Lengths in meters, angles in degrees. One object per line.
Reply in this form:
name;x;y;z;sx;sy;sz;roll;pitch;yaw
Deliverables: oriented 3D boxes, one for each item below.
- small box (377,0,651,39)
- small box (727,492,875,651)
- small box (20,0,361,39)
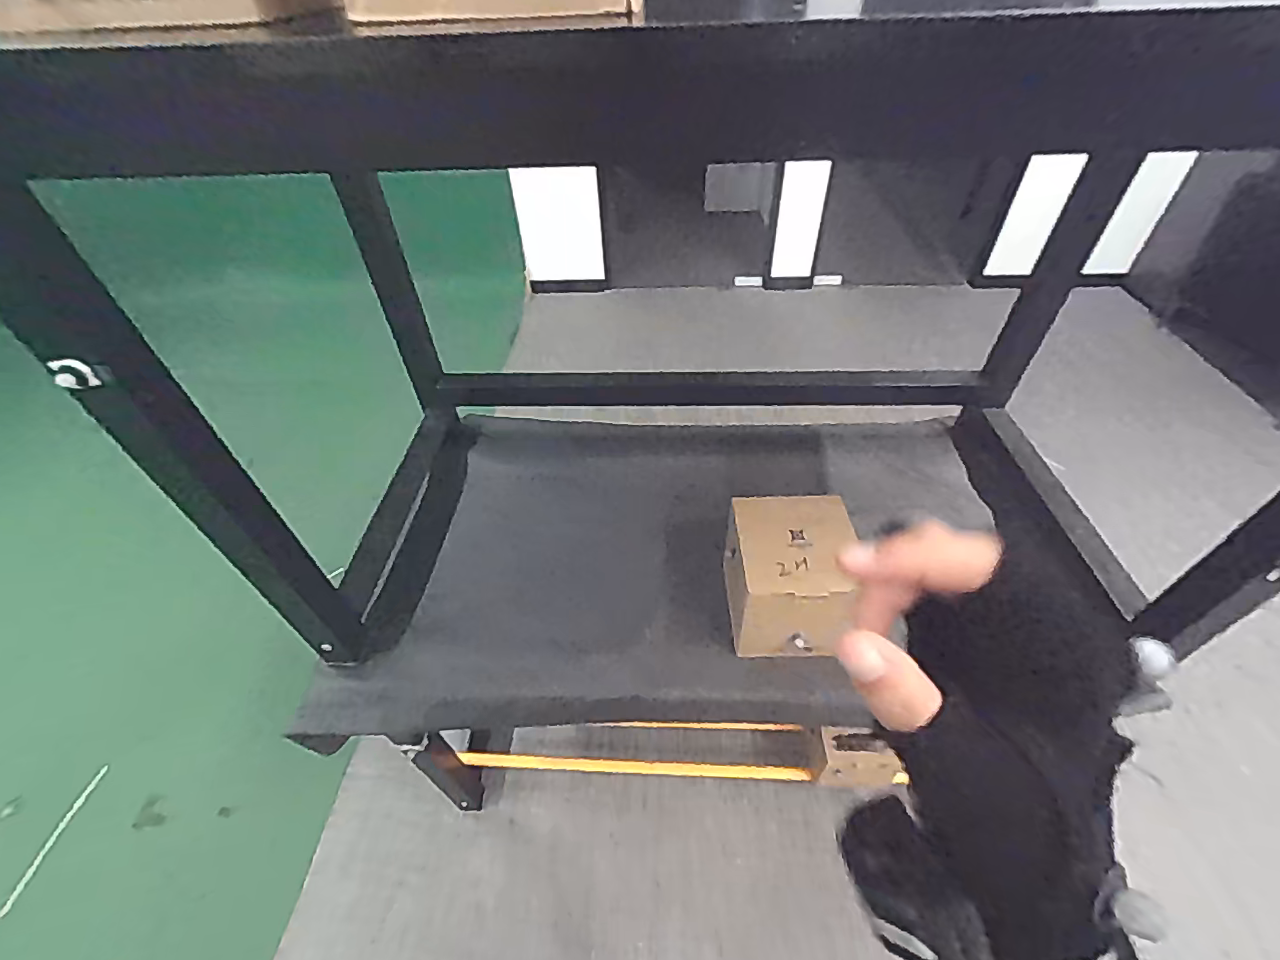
small box;-0.078;-0.383;0.324;0.168;0.176;0.179;0;45;2
small box;0.227;0.138;0.819;0.168;0.176;0.179;-2;44;2
small box;-0.305;-0.390;0.338;0.168;0.176;0.179;-2;44;-1
